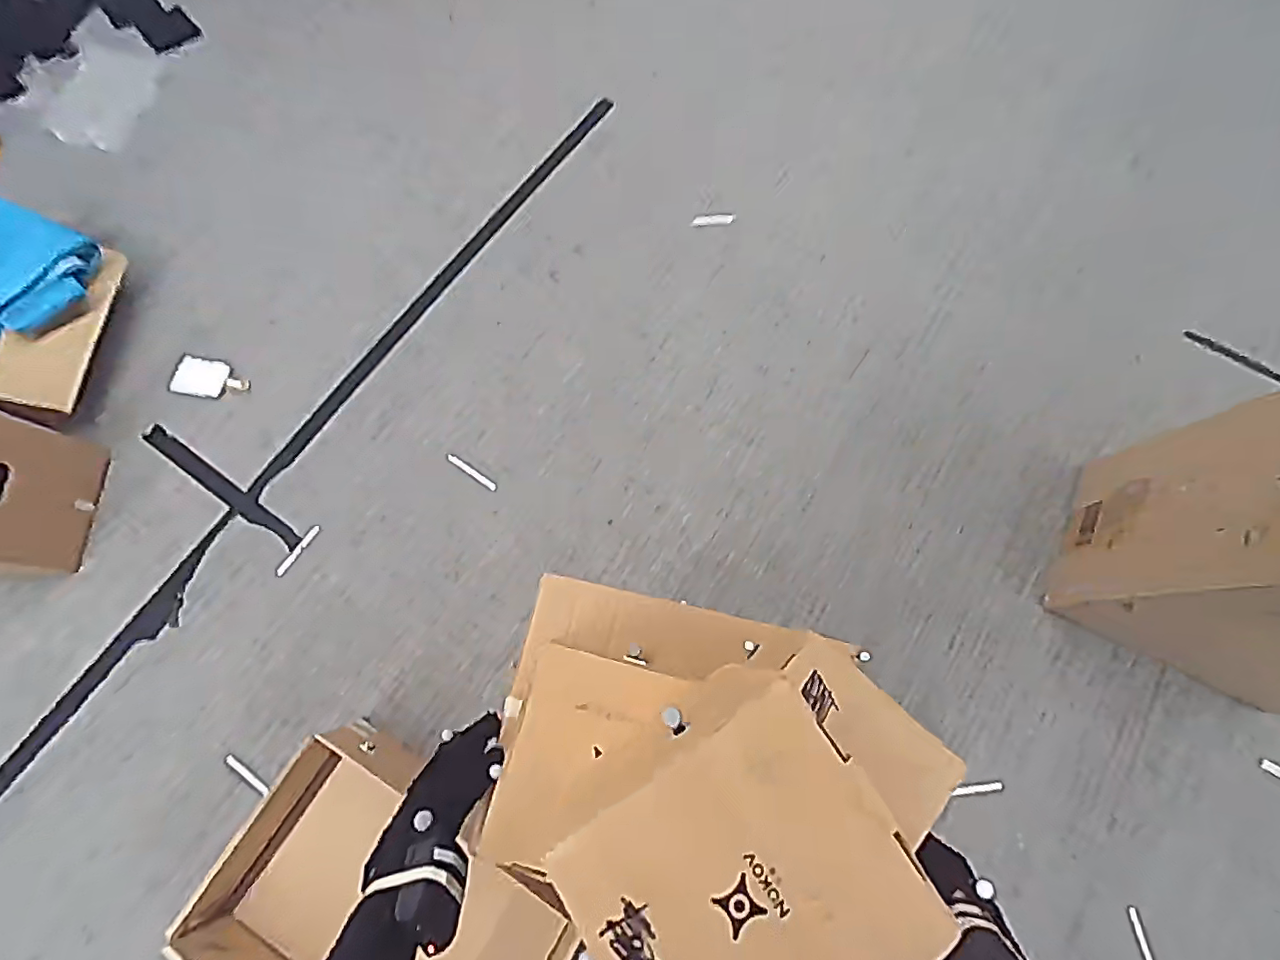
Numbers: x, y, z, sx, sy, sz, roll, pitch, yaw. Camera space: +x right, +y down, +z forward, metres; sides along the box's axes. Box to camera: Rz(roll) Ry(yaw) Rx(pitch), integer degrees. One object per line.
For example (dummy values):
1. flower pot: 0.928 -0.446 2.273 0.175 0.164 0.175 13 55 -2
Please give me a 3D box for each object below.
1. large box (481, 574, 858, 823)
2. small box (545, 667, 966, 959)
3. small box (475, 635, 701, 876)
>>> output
1. large box: 0.033 0.336 0.761 0.408 0.320 0.320 13 75 -1
2. small box: 0.057 0.243 0.365 0.179 0.176 0.168 -32 77 -12
3. small box: -0.039 0.259 0.527 0.168 0.176 0.179 15 73 -2
